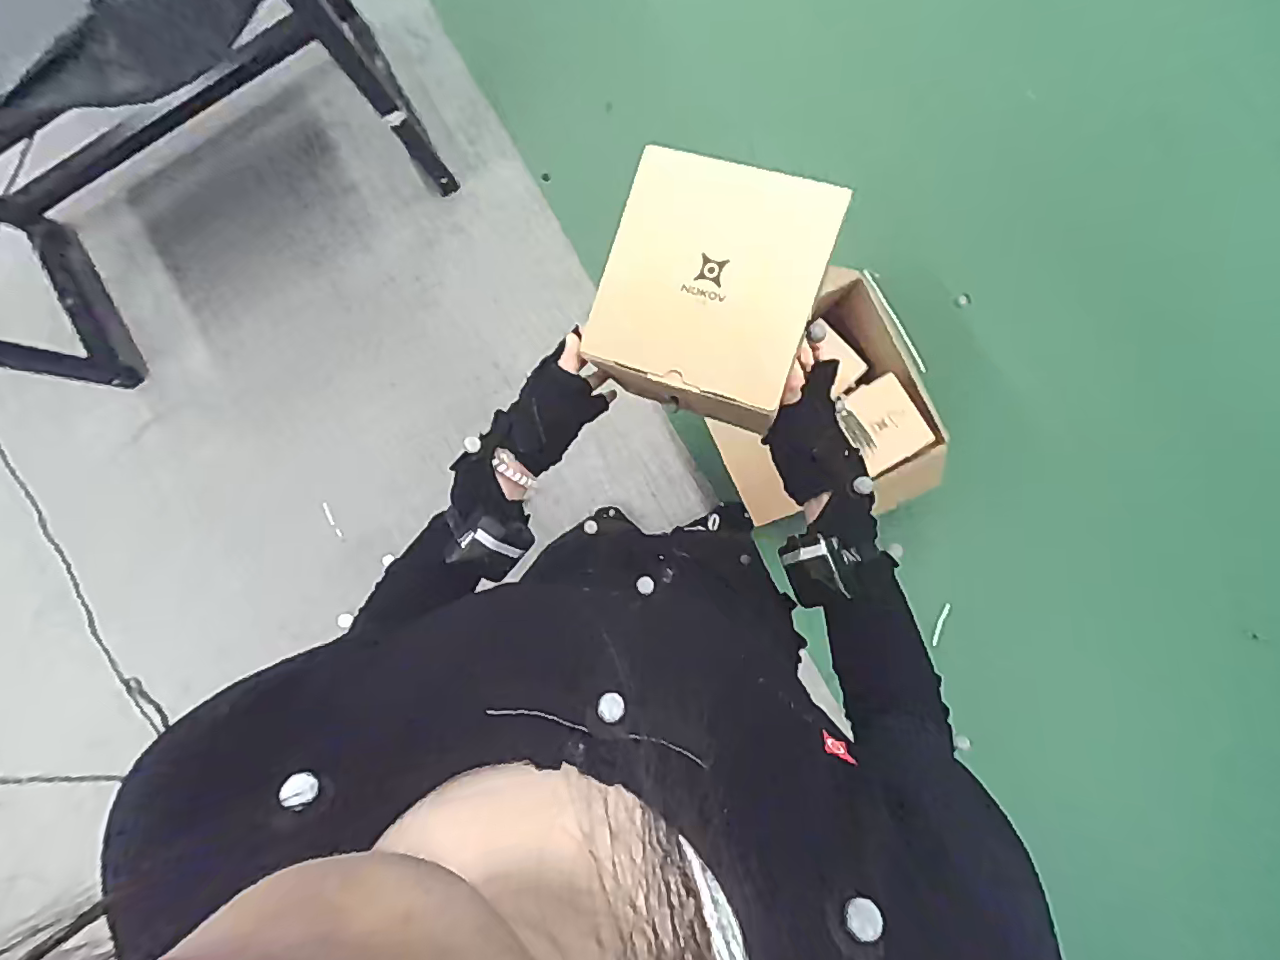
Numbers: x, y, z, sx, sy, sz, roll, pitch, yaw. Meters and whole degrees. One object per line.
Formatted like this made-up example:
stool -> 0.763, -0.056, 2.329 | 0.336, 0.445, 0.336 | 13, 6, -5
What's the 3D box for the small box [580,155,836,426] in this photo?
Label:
small box -> 0.065, -0.161, 0.513 | 0.168, 0.176, 0.179 | 19, 94, 11
